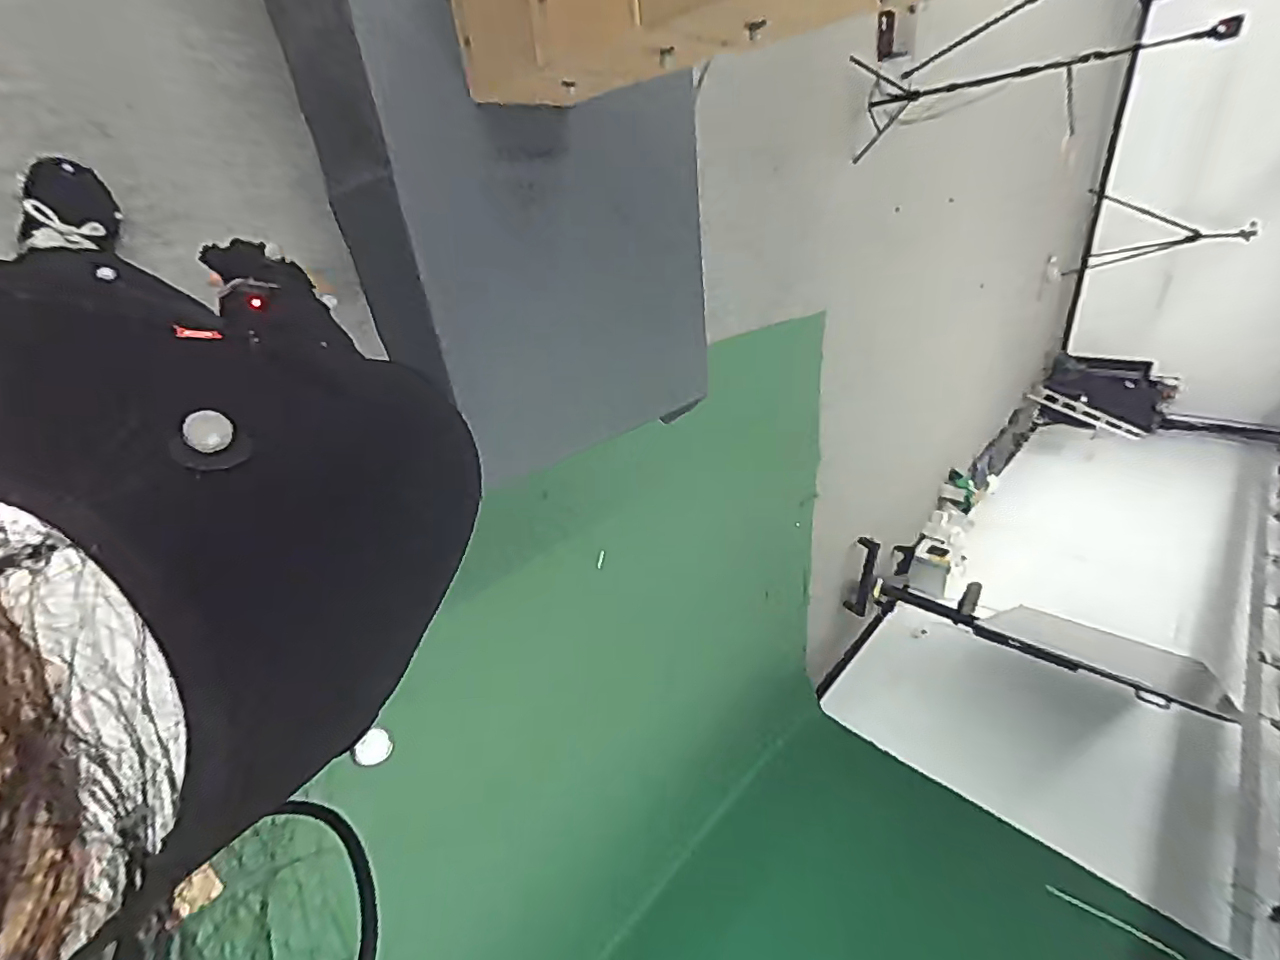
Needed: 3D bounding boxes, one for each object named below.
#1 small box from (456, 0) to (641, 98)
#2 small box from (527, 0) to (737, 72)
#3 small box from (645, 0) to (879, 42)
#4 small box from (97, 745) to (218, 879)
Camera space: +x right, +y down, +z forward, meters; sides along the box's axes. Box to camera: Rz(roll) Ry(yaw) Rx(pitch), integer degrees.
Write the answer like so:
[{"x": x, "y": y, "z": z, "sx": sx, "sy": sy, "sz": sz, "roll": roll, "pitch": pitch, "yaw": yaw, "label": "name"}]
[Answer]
[{"x": -0.122, "y": -0.605, "z": 0.691, "sx": 0.179, "sy": 0.176, "sz": 0.168, "roll": -30, "pitch": 125, "yaw": -37, "label": "small box"}, {"x": -0.009, "y": -0.561, "z": 0.583, "sx": 0.179, "sy": 0.176, "sz": 0.168, "roll": -29, "pitch": 124, "yaw": -36, "label": "small box"}, {"x": 0.104, "y": -0.516, "z": 0.473, "sx": 0.168, "sy": 0.176, "sz": 0.179, "roll": -27, "pitch": 124, "yaw": -37, "label": "small box"}, {"x": -1.122, "y": 0.754, "z": 1.256, "sx": 0.168, "sy": 0.176, "sz": 0.179, "roll": -23, "pitch": 121, "yaw": -38, "label": "small box"}]
